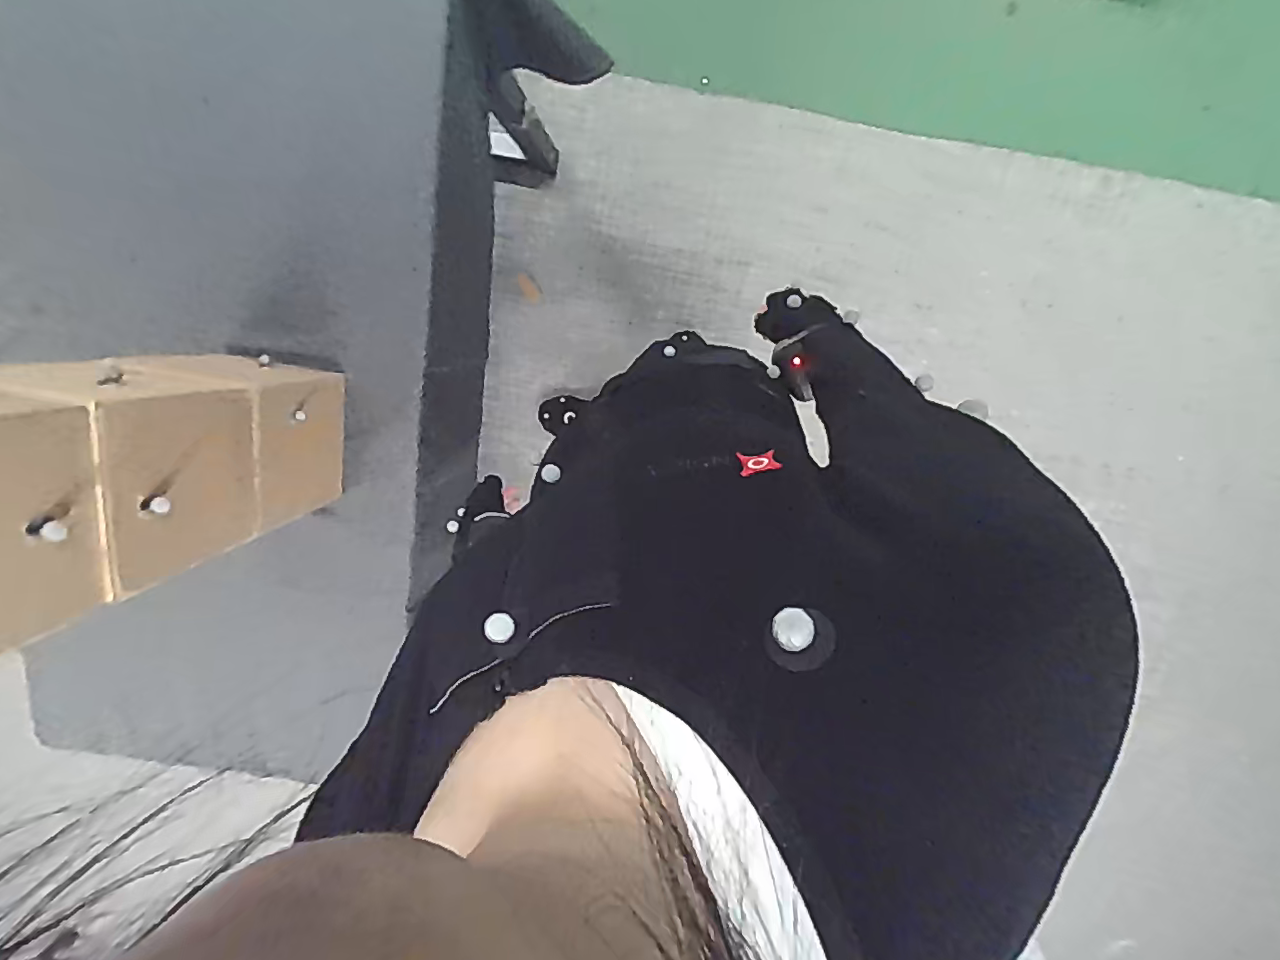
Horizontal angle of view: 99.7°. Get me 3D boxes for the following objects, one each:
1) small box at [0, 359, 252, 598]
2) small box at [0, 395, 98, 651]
[{"bbox_3d":[-0.505,-0.015,0.512,0.168,0.176,0.179,9,105,-1],"label":"small box"},{"bbox_3d":[-0.516,0.027,0.354,0.168,0.176,0.179,11,104,-1],"label":"small box"}]
